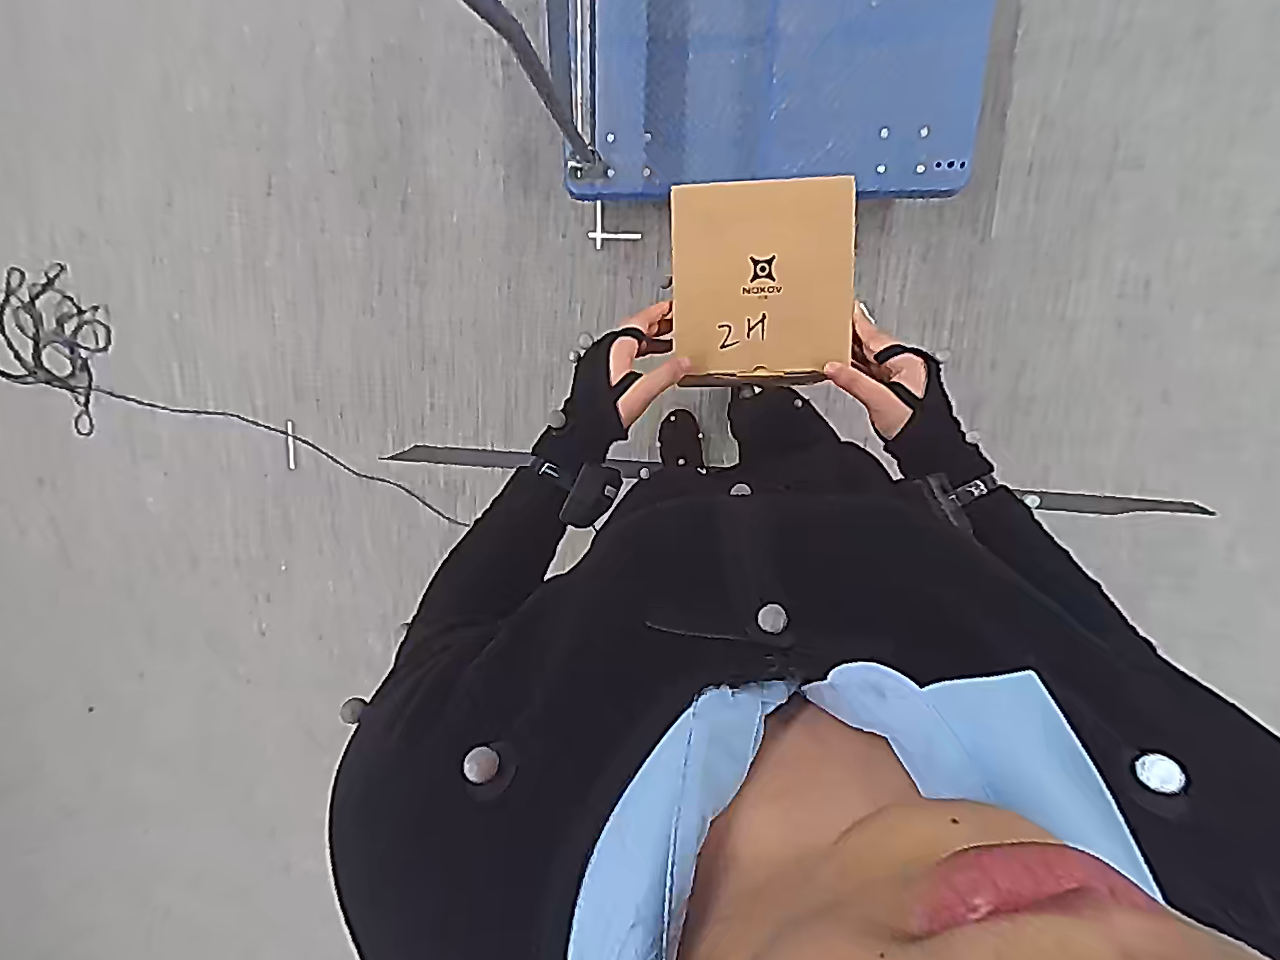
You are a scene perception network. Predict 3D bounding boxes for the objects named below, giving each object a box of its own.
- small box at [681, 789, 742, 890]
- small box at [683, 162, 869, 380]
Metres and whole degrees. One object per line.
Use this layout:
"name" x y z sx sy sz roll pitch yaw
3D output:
"small box" 0.206 1.051 1.589 0.168 0.176 0.179 2 100 4
"small box" 0.129 -0.201 0.569 0.168 0.176 0.179 0 96 6
